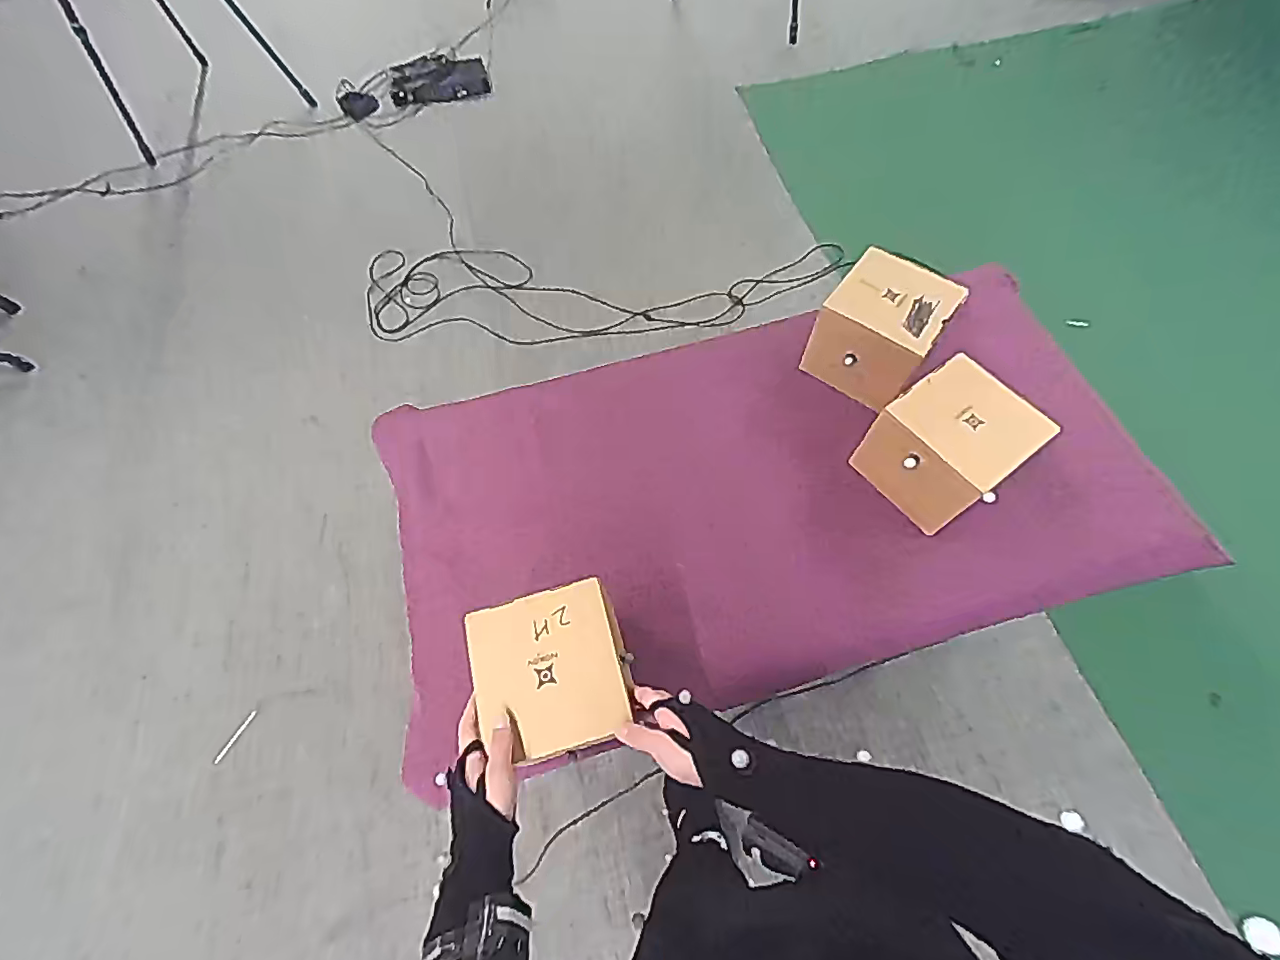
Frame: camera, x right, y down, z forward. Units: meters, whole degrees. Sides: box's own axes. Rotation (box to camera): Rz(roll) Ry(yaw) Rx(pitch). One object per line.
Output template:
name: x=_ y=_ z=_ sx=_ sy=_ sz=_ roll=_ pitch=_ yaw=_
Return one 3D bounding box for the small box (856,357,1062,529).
small box: x=0.469 y=-0.045 z=0.826 sx=0.168 sy=0.176 sz=0.179 roll=-34 pitch=67 yaw=-13

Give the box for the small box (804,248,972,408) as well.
small box: x=0.411 y=-0.249 z=0.924 sx=0.179 sy=0.176 sz=0.168 roll=35 pitch=71 yaw=18

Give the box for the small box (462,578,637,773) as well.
small box: x=-0.105 y=0.243 z=0.676 sx=0.168 sy=0.176 sz=0.179 roll=-15 pitch=65 yaw=-3
